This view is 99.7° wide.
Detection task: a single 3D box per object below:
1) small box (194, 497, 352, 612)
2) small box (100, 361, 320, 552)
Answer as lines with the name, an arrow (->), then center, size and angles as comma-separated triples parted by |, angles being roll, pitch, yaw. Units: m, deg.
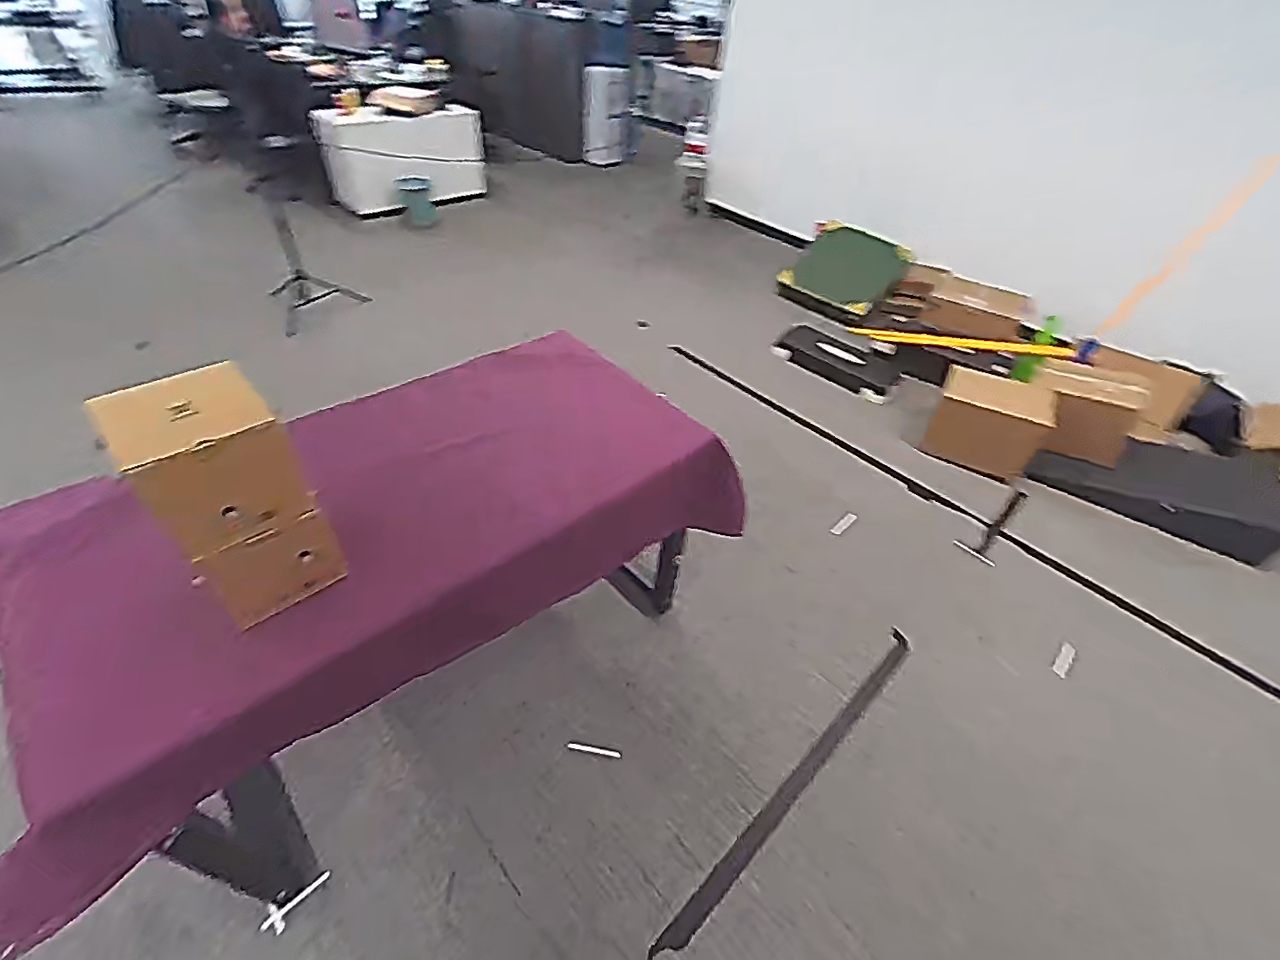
small box -> -0.590, 0.084, 0.860 | 0.168, 0.176, 0.179 | -30, 54, -33
small box -> -0.582, -0.034, 0.749 | 0.179, 0.176, 0.168 | 38, 50, 27
